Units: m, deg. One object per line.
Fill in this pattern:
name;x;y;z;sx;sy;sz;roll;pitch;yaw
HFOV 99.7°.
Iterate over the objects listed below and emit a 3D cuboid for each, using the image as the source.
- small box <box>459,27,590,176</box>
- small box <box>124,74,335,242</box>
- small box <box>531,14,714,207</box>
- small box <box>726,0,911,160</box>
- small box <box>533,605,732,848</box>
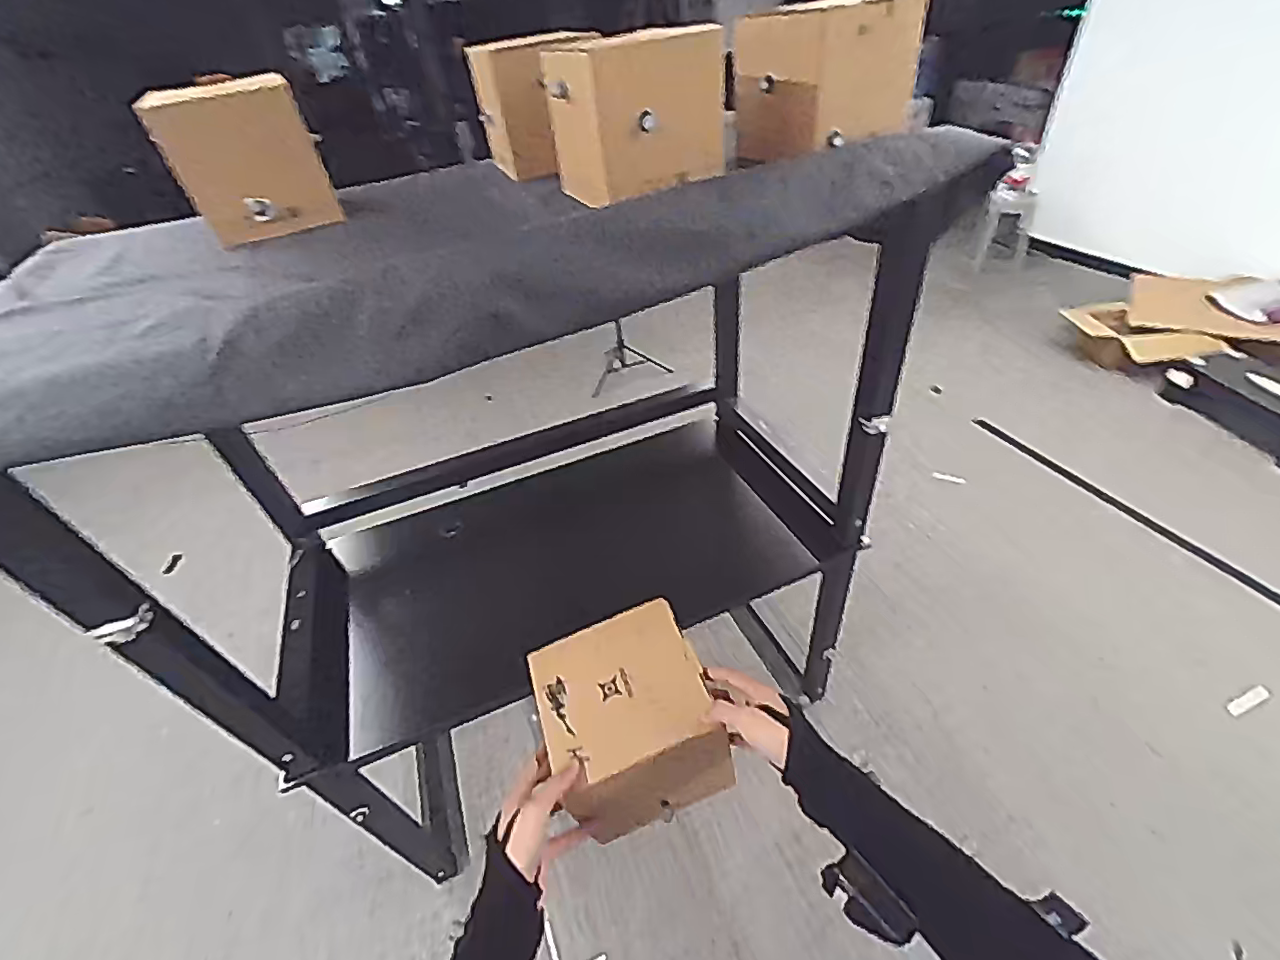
small box;-0.170;-0.610;0.874;0.179;0.176;0.168;-20;43;-13
small box;-0.556;-0.450;0.757;0.168;0.176;0.179;-26;44;-18
small box;-0.017;-0.460;0.681;0.168;0.176;0.179;-22;42;-15
small box;0.236;-0.551;0.738;0.168;0.176;0.179;-24;42;-17
small box;-0.005;0.281;0.619;0.179;0.176;0.168;-20;41;-7
